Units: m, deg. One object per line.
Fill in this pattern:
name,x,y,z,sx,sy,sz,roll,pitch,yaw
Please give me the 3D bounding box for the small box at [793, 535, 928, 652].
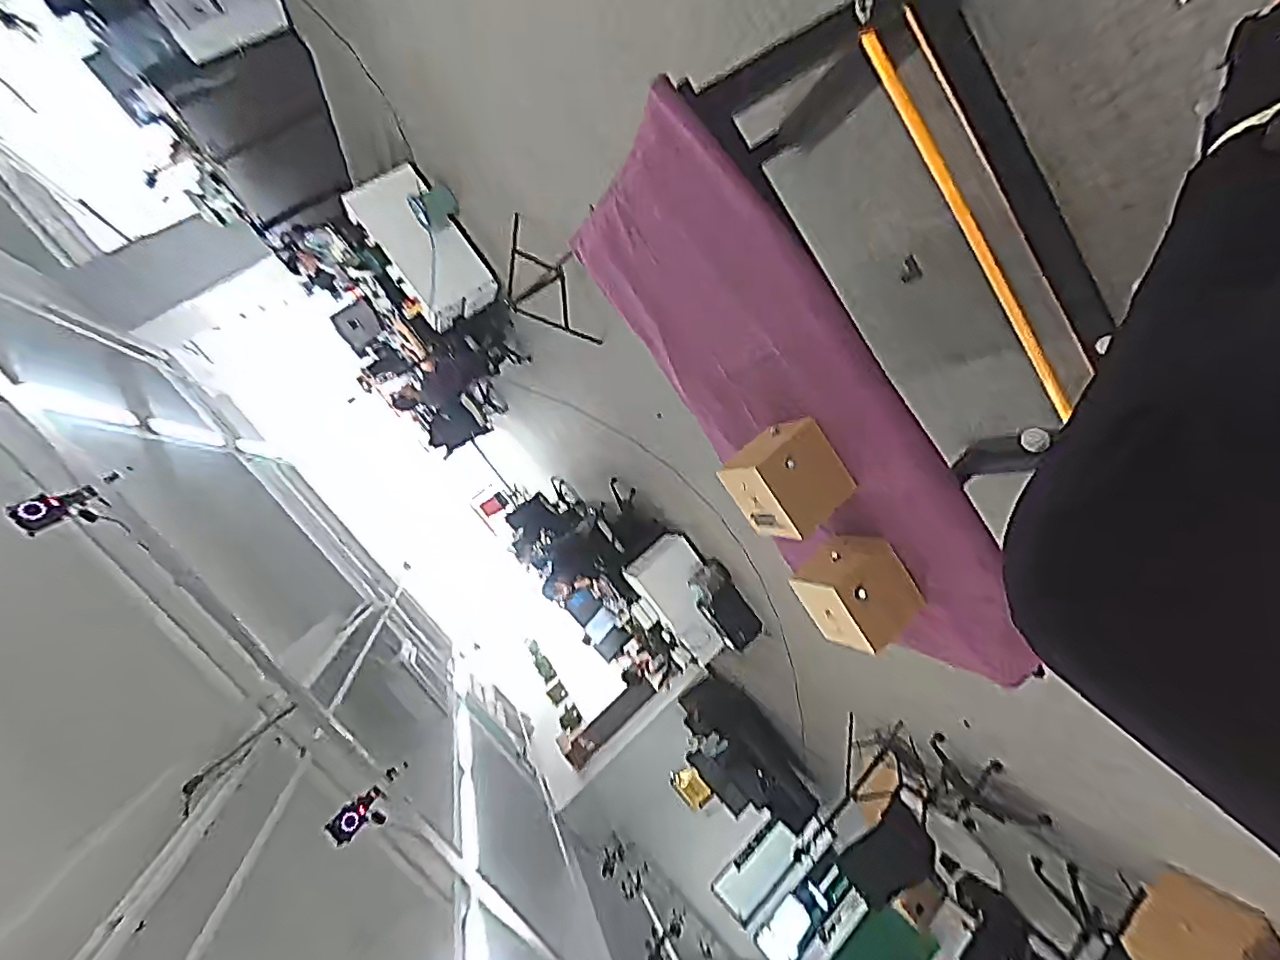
small box,0.477,0.235,1.176,0.179,0.176,0.168,55,164,-7
